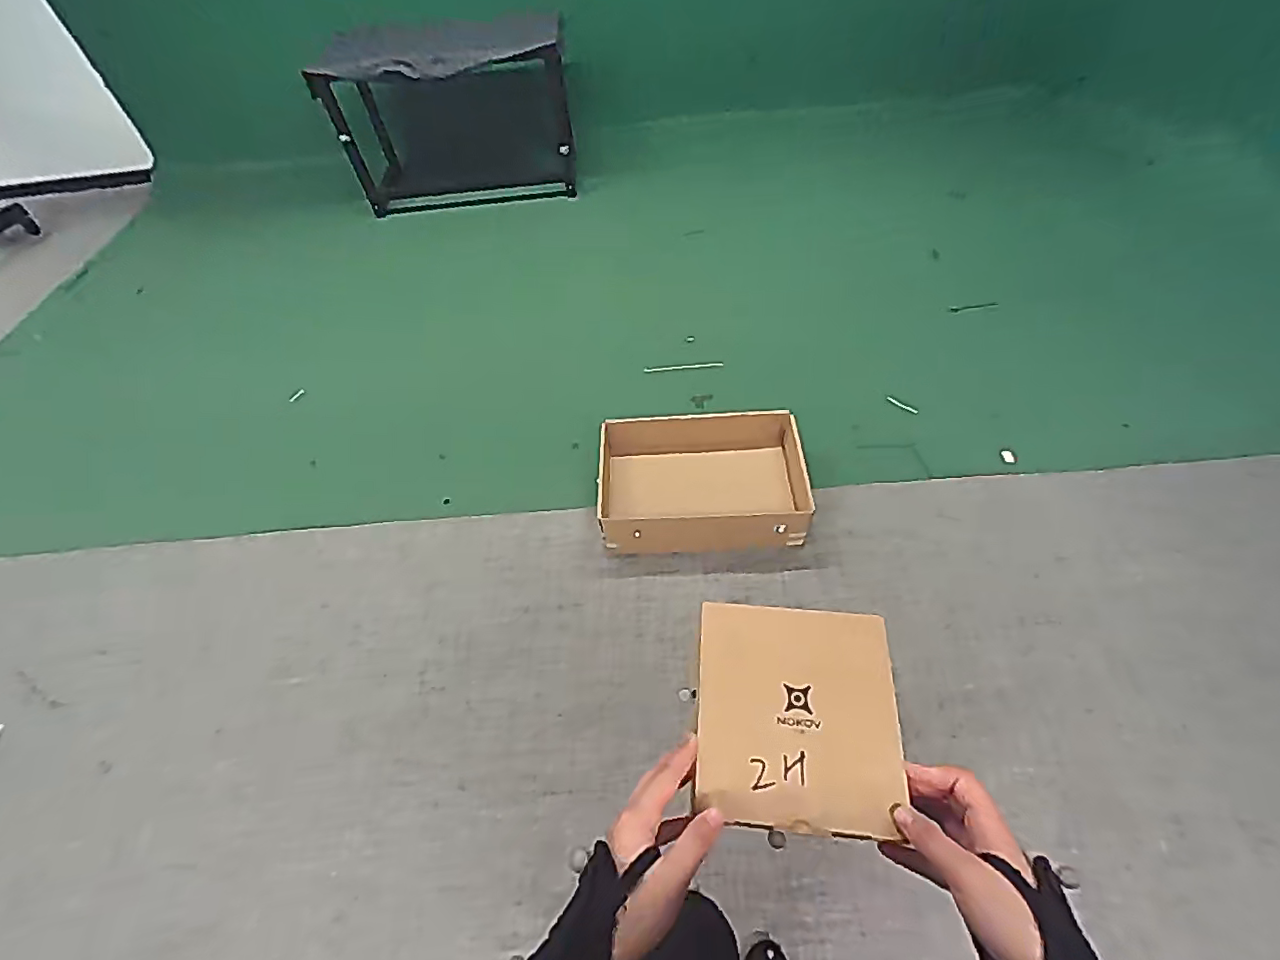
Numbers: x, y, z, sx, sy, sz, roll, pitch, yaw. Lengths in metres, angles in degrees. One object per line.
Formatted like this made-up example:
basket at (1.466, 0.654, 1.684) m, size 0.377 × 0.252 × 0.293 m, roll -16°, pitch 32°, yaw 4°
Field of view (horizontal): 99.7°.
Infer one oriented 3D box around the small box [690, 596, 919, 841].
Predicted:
small box at (0.137, 0.229, 0.518) m, size 0.168 × 0.176 × 0.179 m, roll 4°, pitch 59°, yaw 5°
